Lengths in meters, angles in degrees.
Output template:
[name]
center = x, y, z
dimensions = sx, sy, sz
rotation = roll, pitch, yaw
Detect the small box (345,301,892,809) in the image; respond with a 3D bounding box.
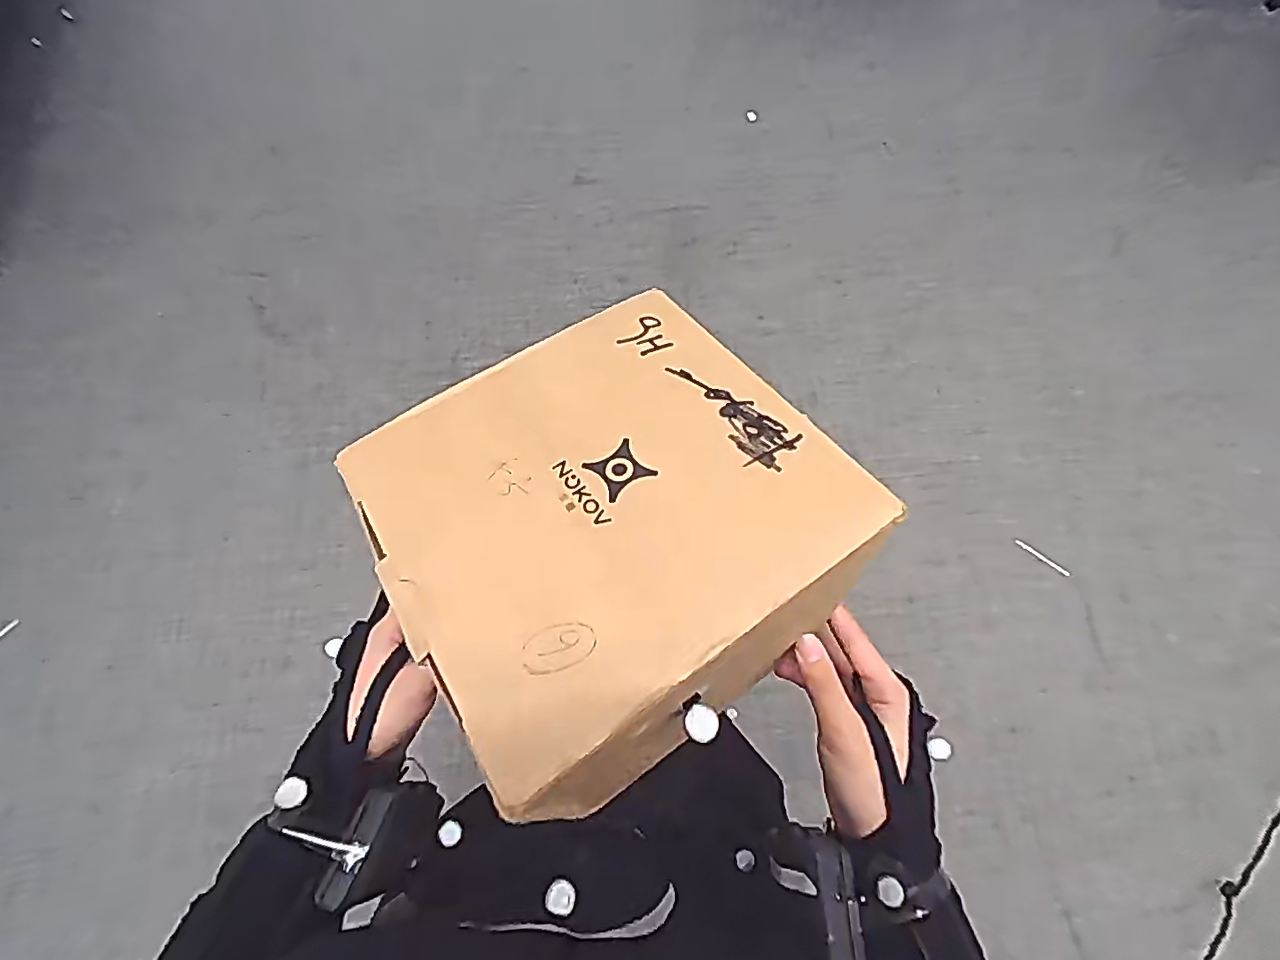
[small box]
center = -0.011, 0.047, 0.288
dimensions = 0.179, 0.176, 0.168
rotation = -32, 60, -15
